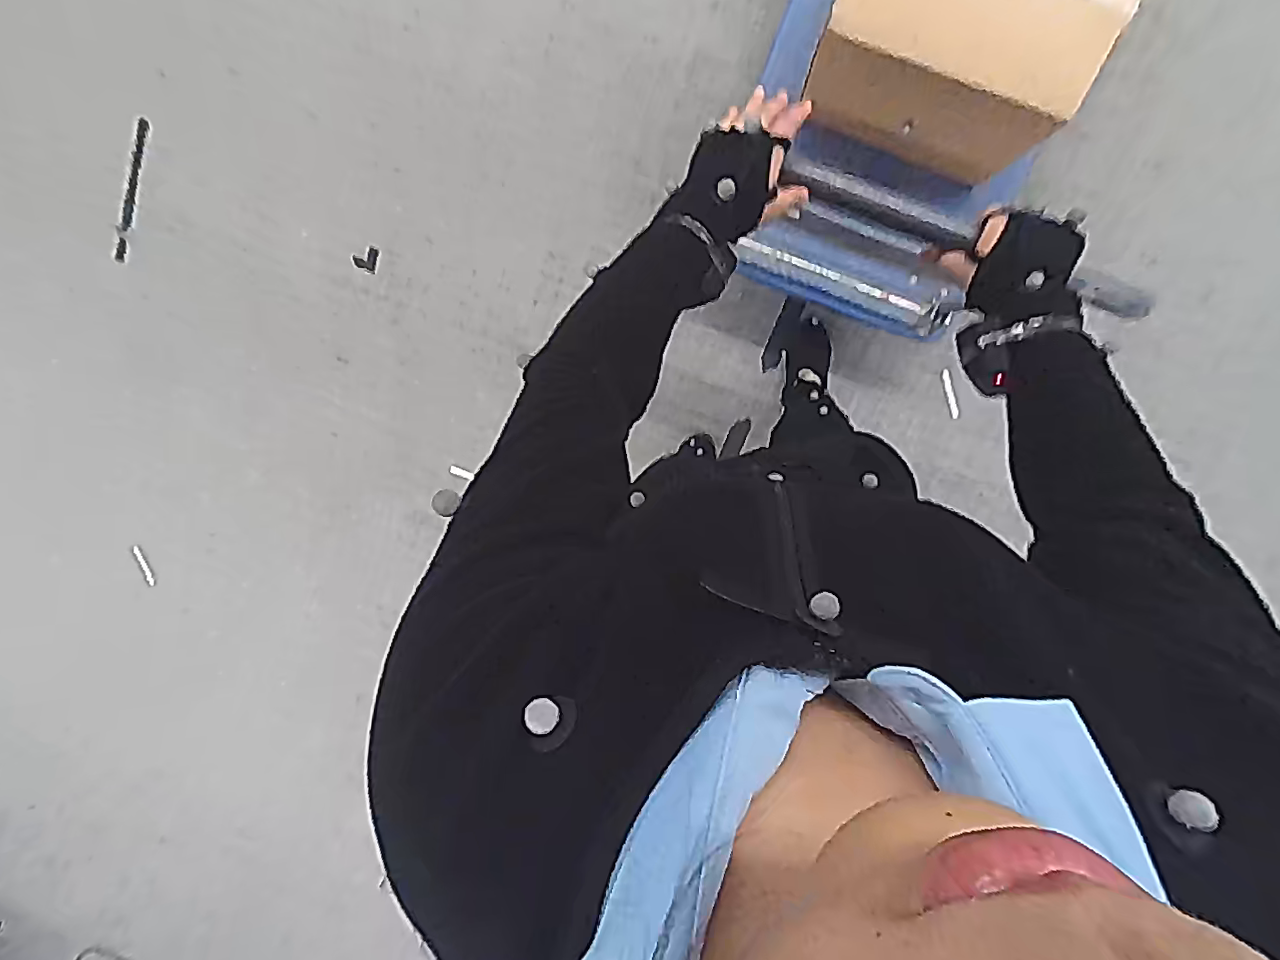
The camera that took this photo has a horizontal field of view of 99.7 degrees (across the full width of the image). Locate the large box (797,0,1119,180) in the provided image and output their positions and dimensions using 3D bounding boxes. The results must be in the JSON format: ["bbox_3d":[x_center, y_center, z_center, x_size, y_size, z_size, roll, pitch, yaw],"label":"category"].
[{"bbox_3d":[0.546,-0.800,0.960,0.408,0.320,0.320,23,103,4],"label":"large box"}]
